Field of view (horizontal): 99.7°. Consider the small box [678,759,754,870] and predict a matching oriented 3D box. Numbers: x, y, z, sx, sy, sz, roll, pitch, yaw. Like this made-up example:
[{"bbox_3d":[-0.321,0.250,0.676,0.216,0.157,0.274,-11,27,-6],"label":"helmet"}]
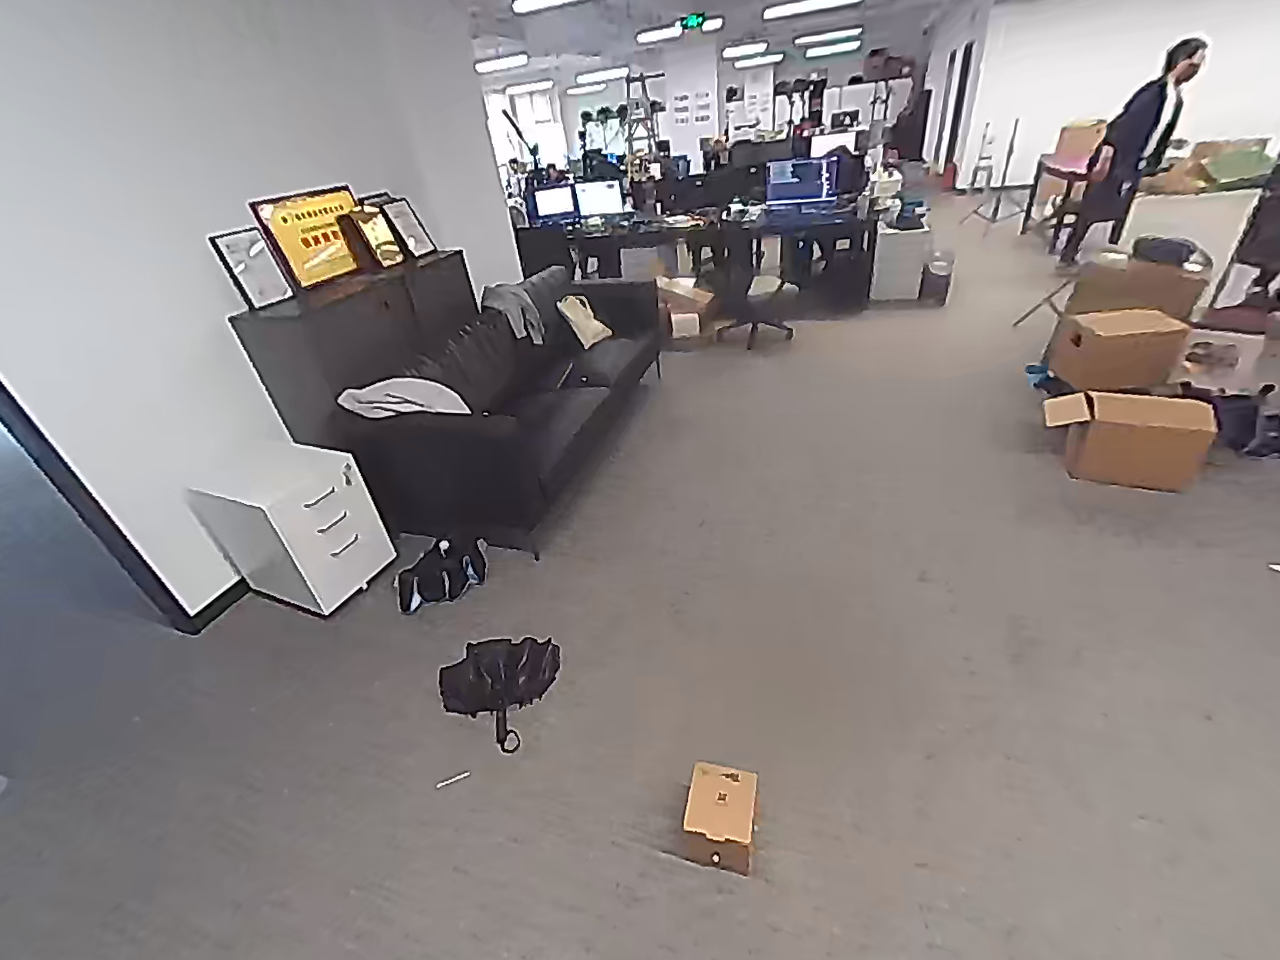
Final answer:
[{"bbox_3d":[0.202,0.863,1.394,0.168,0.176,0.179,4,35,17],"label":"small box"}]
